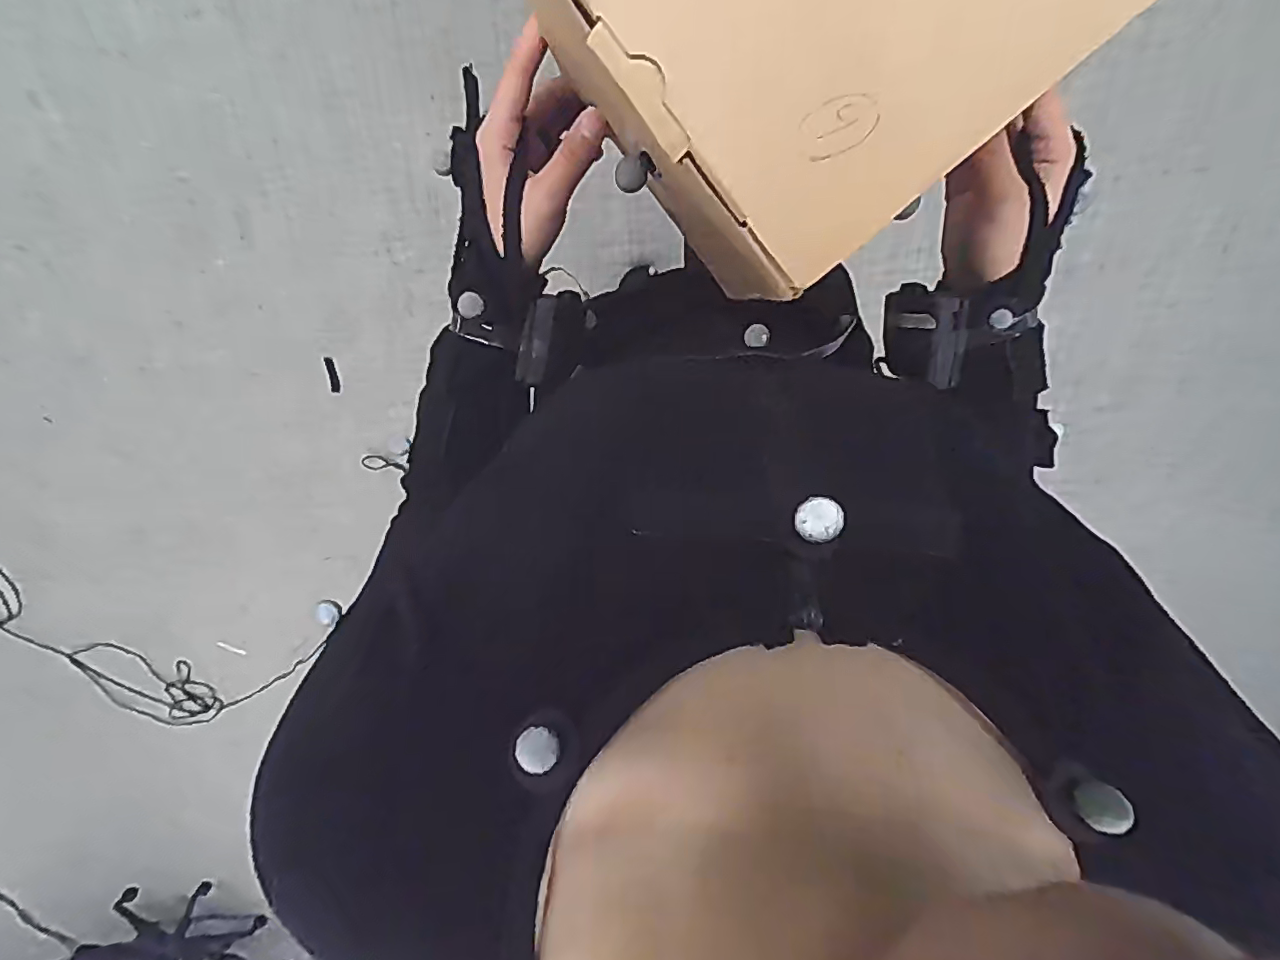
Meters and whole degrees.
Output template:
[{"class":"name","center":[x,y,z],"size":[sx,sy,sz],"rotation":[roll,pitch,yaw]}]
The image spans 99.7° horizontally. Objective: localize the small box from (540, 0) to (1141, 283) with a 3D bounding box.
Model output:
[{"class":"small box","center":[0.068,-0.201,0.225],"size":[0.179,0.176,0.168],"rotation":[-38,102,14]}]
